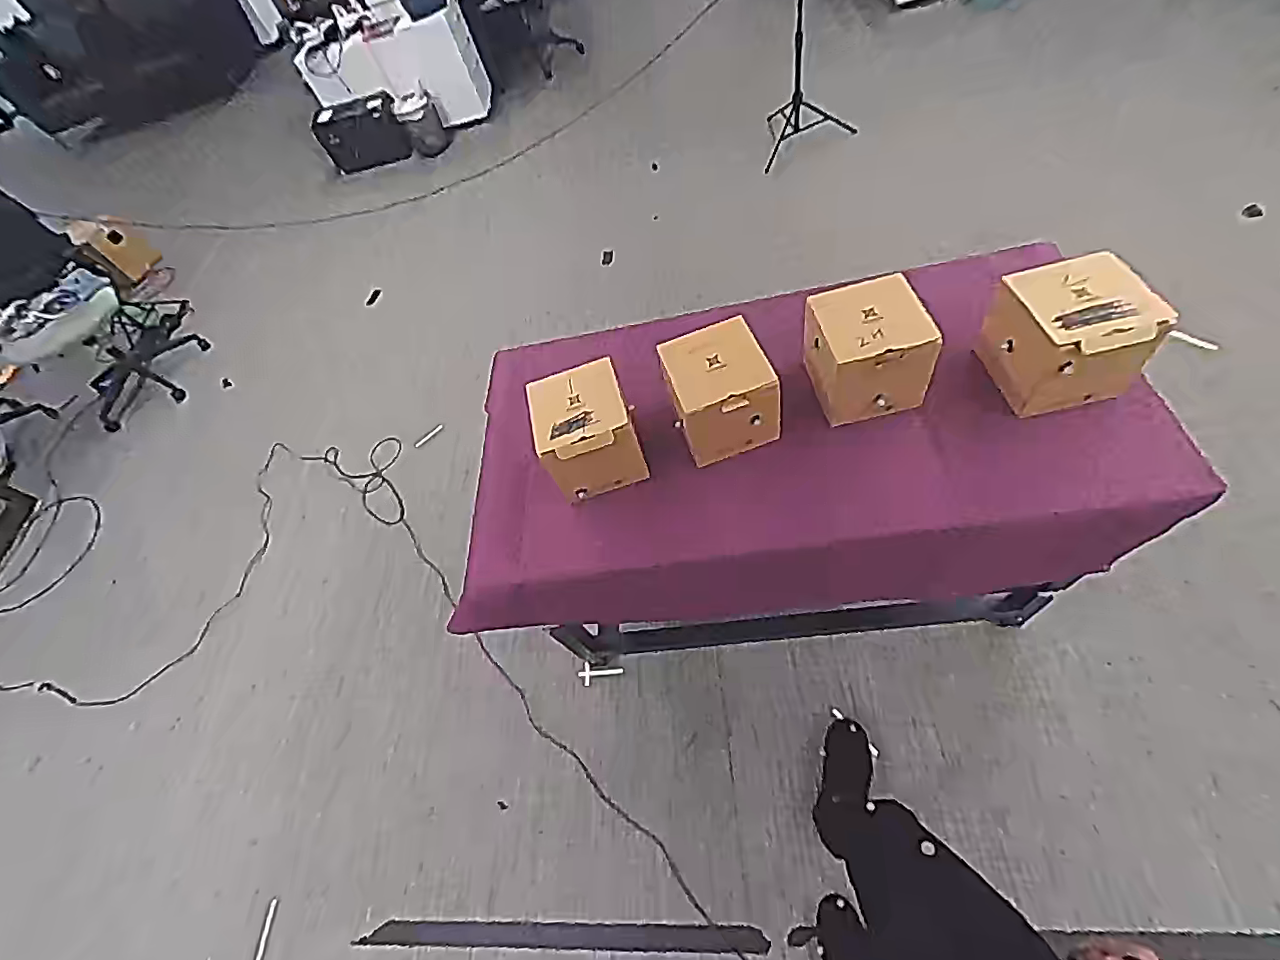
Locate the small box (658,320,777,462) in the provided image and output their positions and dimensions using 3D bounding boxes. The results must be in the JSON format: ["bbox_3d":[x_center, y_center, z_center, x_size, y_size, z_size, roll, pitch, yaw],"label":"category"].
[{"bbox_3d":[0.147,-0.154,0.998,0.168,0.176,0.179,-20,56,2],"label":"small box"}]

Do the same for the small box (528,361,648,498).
[{"bbox_3d":[-0.094,-0.084,1.017,0.168,0.176,0.179,-19,55,3],"label":"small box"}]

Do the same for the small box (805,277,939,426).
[{"bbox_3d":[0.401,-0.226,0.972,0.168,0.176,0.179,-13,57,7],"label":"small box"}]
